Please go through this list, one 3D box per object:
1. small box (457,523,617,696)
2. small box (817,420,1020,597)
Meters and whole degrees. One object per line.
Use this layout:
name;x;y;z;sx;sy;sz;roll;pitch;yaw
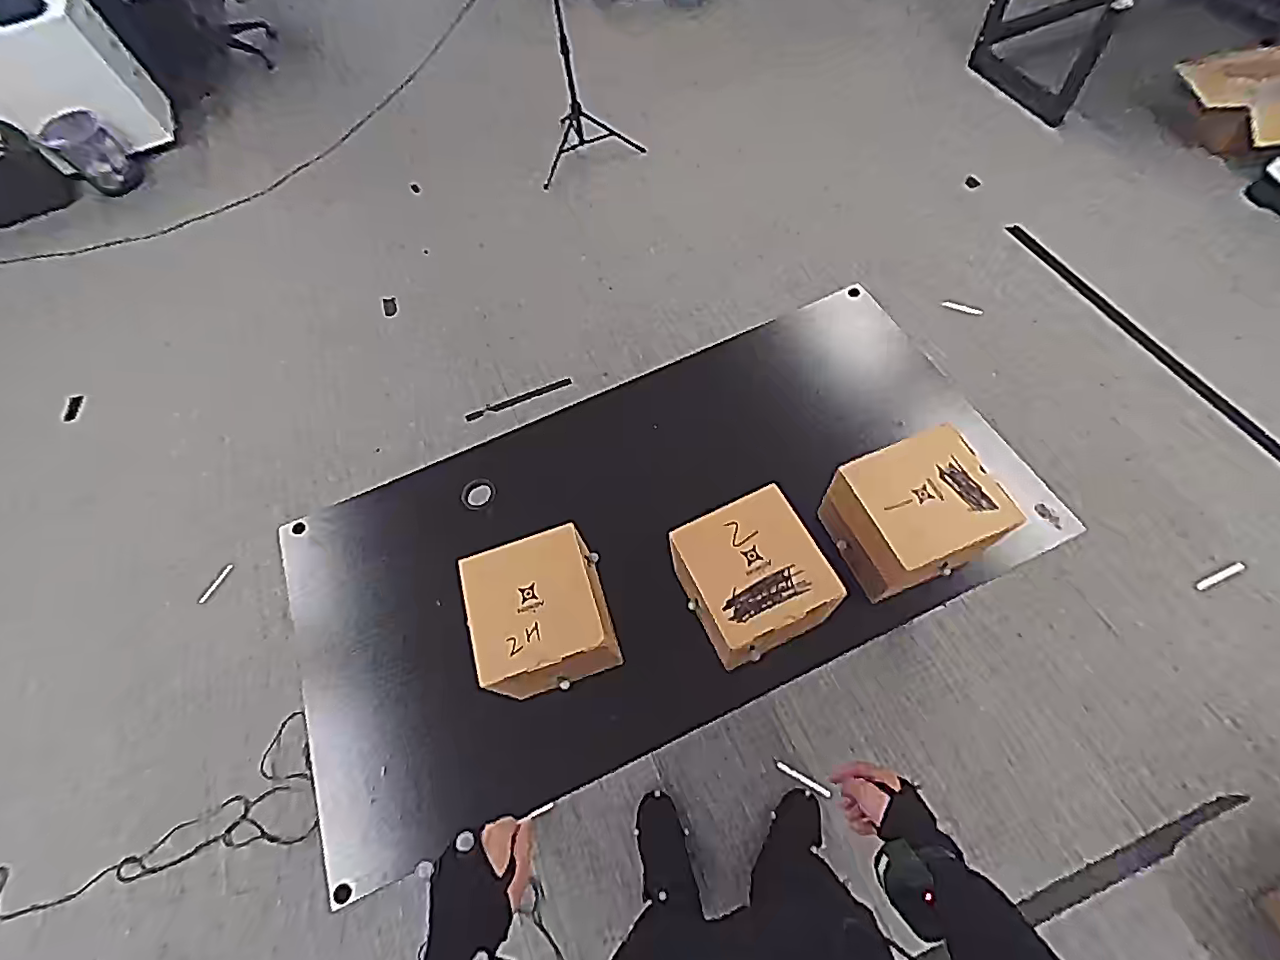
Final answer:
small box;-0.141;0.191;0.772;0.168;0.176;0.179;-19;63;-3
small box;0.384;0.048;0.784;0.179;0.176;0.168;-23;63;-4
